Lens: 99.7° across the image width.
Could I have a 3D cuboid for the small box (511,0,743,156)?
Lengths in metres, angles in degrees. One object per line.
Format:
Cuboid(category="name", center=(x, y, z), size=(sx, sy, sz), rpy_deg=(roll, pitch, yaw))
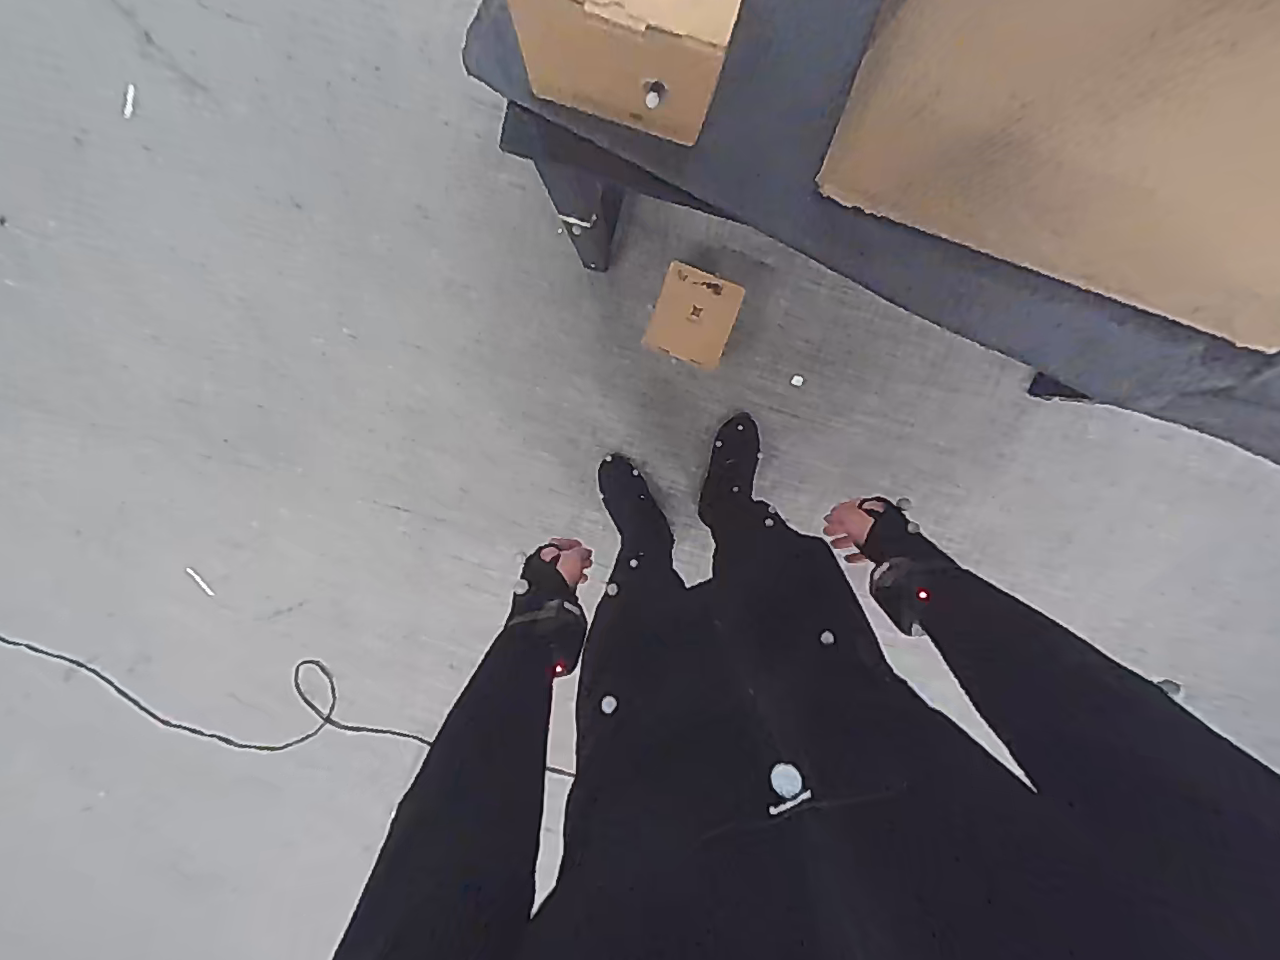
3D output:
Cuboid(category="small box", center=(0.003, -0.415, 0.459), size=(0.168, 0.176, 0.179), rpy_deg=(14, 97, -6))
